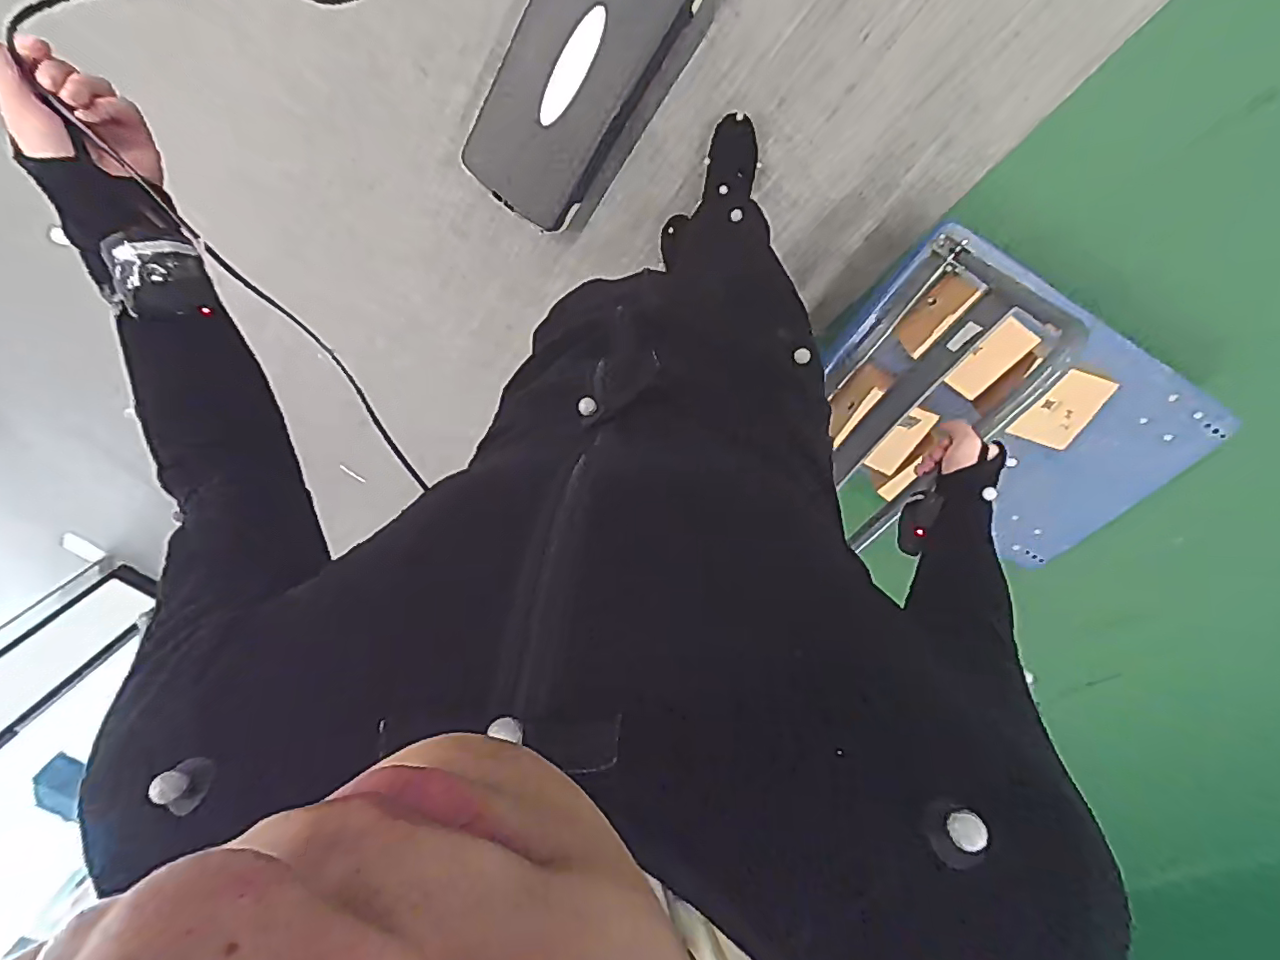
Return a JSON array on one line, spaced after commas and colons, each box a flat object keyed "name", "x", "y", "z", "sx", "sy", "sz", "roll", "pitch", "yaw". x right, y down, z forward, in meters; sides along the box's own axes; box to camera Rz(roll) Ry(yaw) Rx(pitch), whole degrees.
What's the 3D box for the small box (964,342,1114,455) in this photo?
[{"name": "small box", "x": 0.859, "y": -0.187, "z": 1.190, "sx": 0.179, "sy": 0.176, "sz": 0.168, "roll": 19, "pitch": 125, "yaw": -1}]
